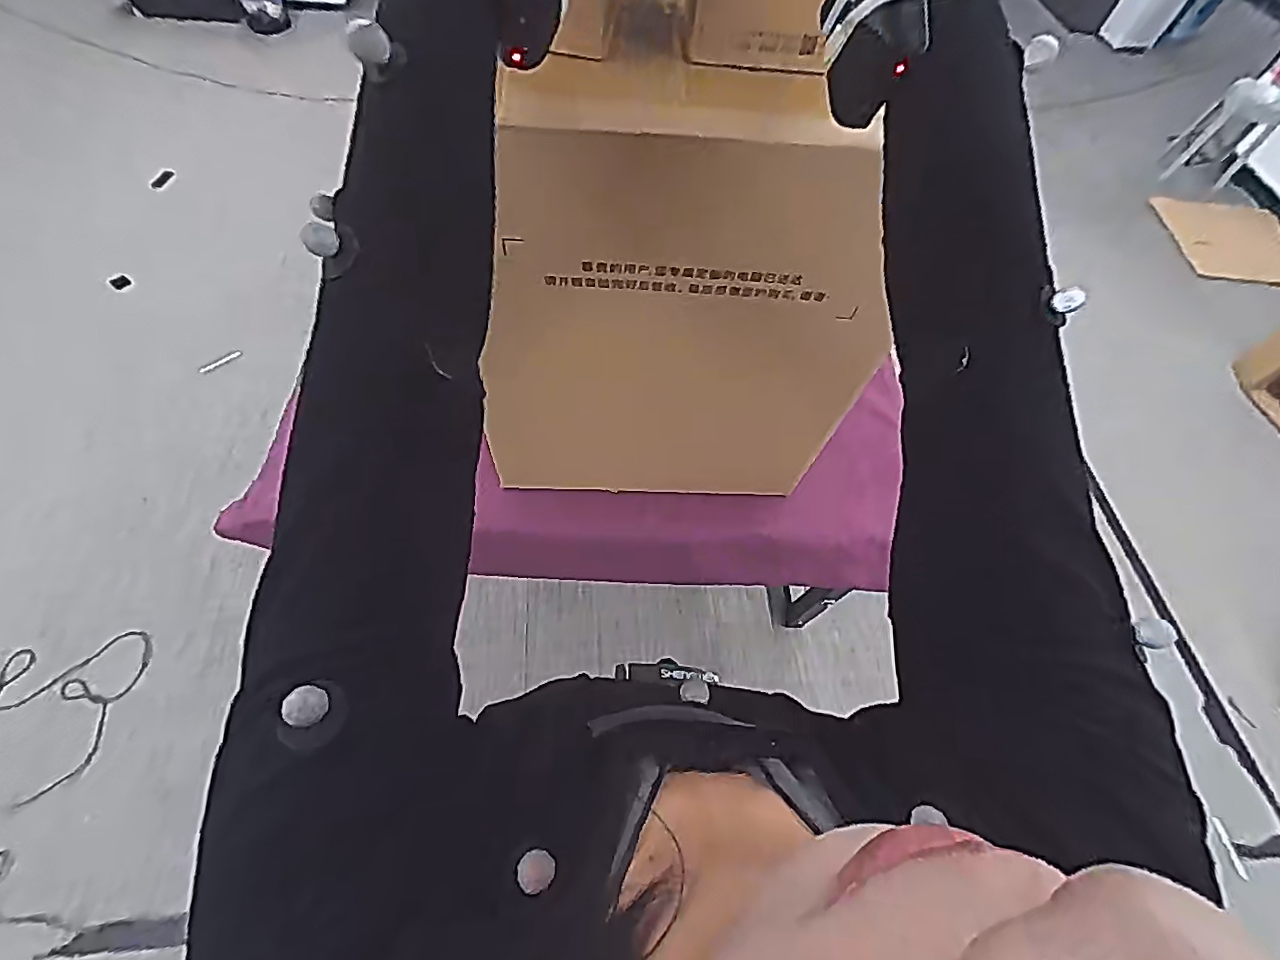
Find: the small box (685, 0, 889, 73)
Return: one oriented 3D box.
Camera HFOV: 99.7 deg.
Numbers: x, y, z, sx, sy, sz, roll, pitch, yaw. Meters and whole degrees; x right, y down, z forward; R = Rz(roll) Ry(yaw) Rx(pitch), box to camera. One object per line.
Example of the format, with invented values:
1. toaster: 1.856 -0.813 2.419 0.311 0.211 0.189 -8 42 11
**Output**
1. small box: 0.128 -0.486 0.457 0.168 0.176 0.179 1 61 -4
